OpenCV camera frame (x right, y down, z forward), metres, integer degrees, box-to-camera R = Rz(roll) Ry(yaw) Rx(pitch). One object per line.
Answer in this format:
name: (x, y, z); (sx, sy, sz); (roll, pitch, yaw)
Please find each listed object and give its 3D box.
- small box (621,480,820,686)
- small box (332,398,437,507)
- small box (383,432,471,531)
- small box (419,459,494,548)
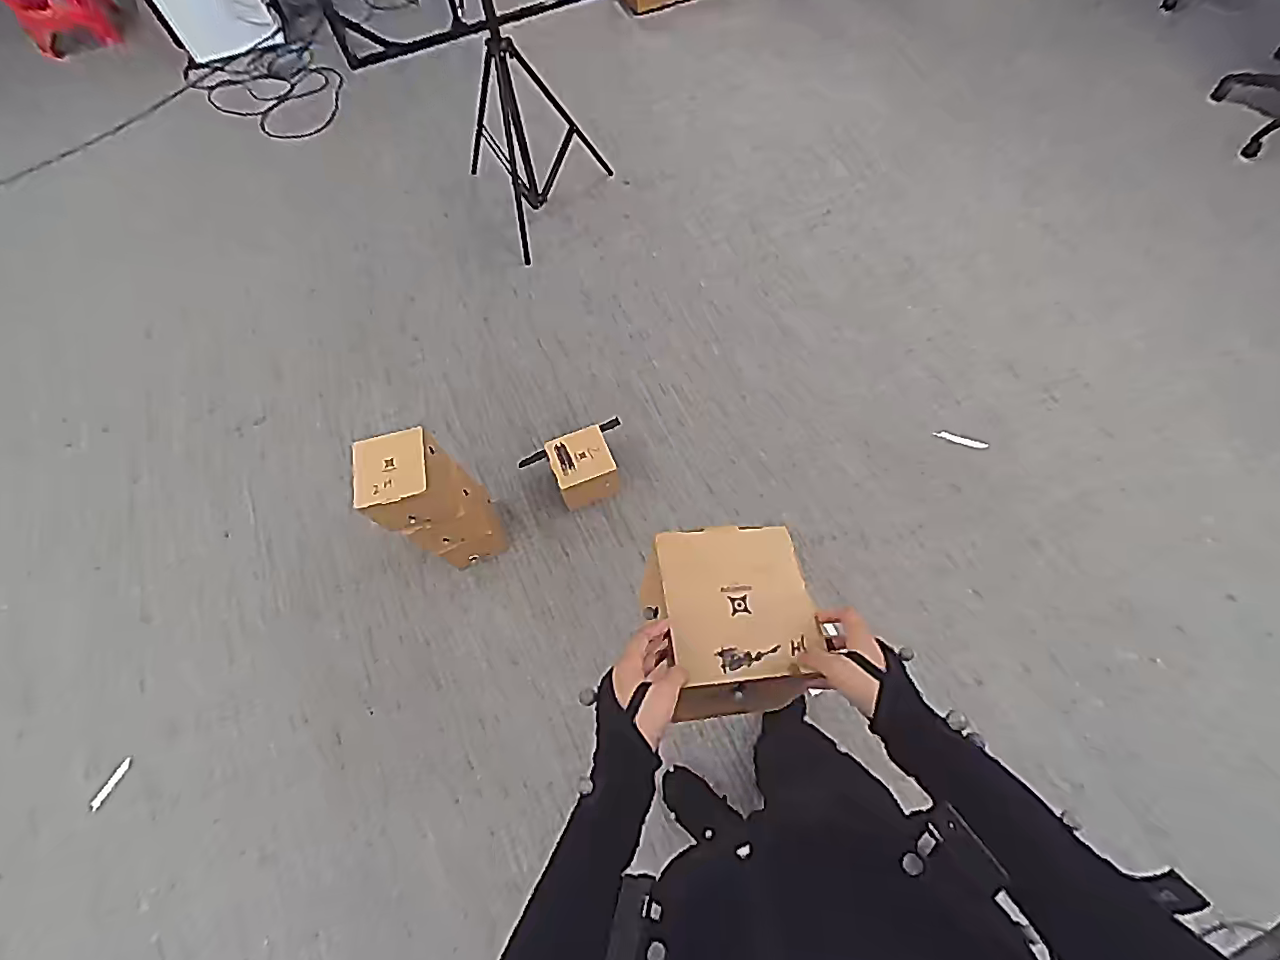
small box: (0.073, 0.119, 0.618); (0.168, 0.176, 0.179); (-3, 56, -10)
small box: (-0.586, -0.059, 1.252); (0.168, 0.176, 0.179); (-14, 67, -2)
small box: (-0.558, 0.008, 1.401); (0.168, 0.176, 0.179); (-19, 67, -4)
small box: (-0.539, 0.072, 1.549); (0.168, 0.176, 0.179); (-22, 67, -6)
